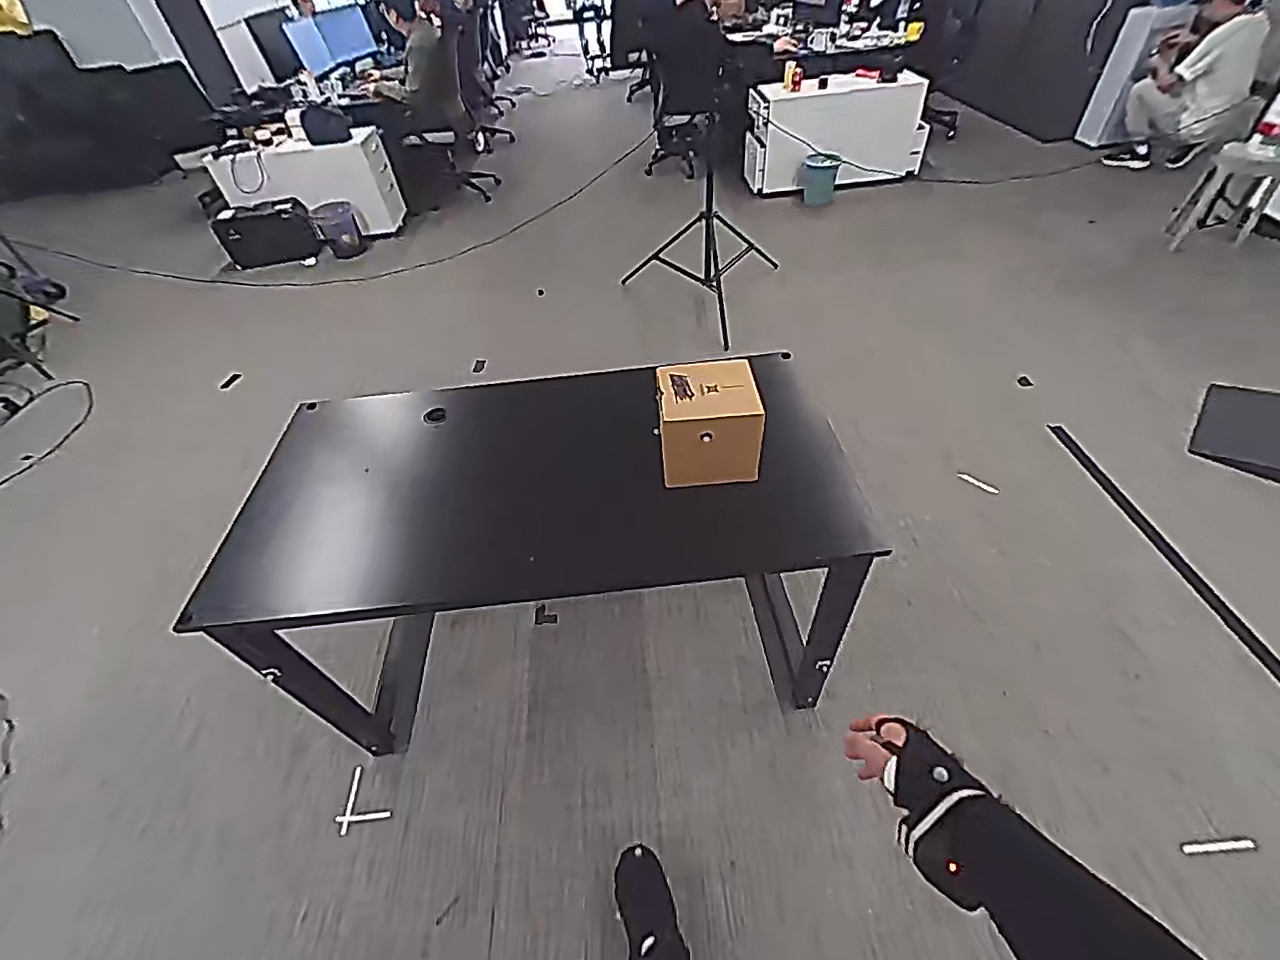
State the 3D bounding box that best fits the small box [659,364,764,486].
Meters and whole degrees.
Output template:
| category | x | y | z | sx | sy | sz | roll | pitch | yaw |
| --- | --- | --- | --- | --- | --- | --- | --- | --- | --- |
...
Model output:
| category | x | y | z | sx | sy | sz | roll | pitch | yaw |
| --- | --- | --- | --- | --- | --- | --- | --- | --- | --- |
| small box | 0.132 | -0.101 | 1.040 | 0.179 | 0.176 | 0.168 | -4 | 46 | 1 |
